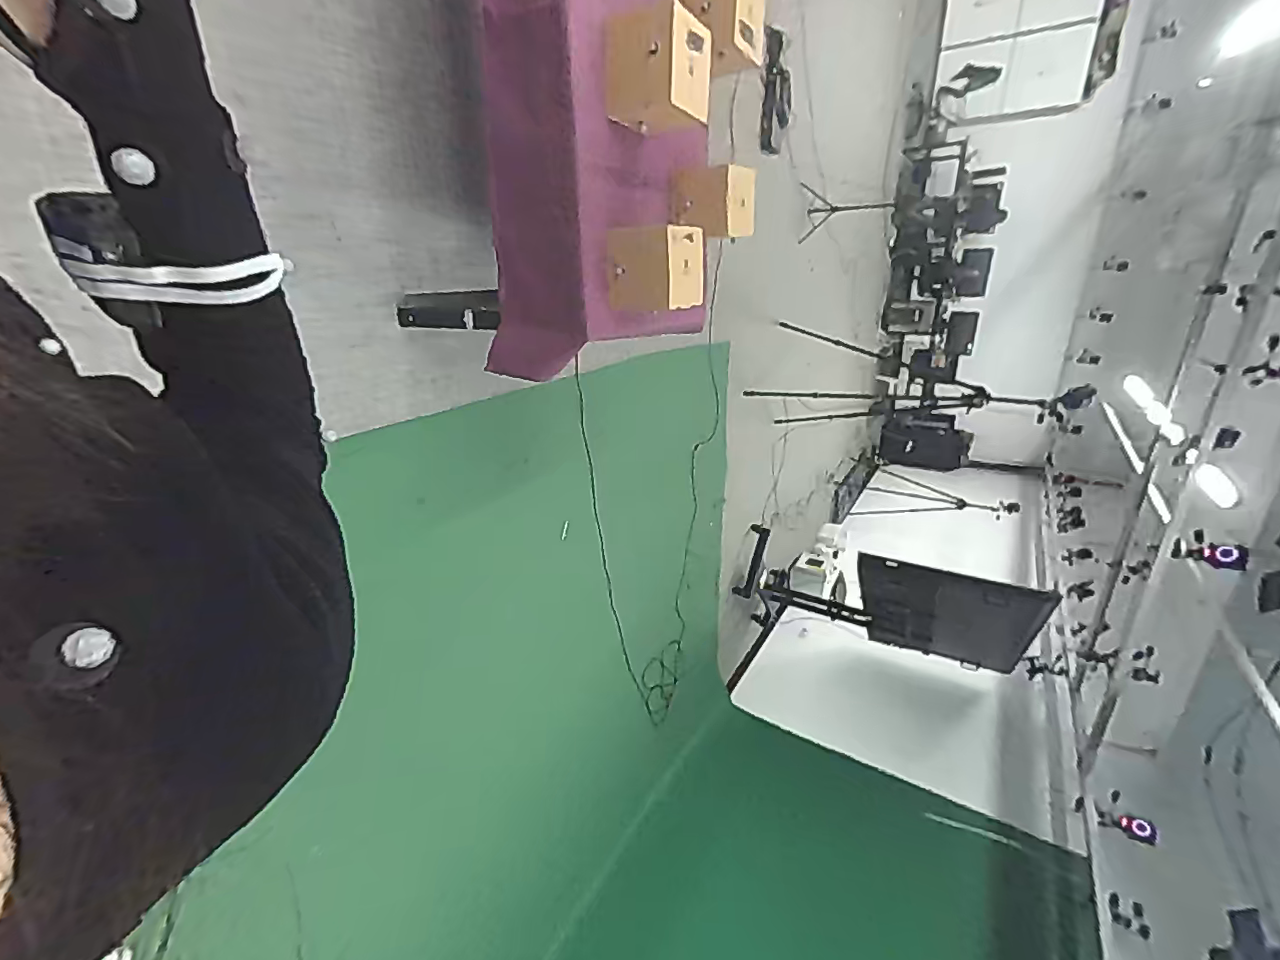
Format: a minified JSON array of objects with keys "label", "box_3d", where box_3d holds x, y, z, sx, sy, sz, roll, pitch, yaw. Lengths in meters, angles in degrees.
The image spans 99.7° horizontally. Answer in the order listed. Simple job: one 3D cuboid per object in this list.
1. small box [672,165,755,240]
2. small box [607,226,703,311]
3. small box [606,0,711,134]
[{"label":"small box","box_3d":[0.199,-0.746,1.467,0.179,0.176,0.168,-32,126,-50]},{"label":"small box","box_3d":[0.035,-0.501,1.285,0.168,0.176,0.179,-31,126,-51]},{"label":"small box","box_3d":[0.039,-0.872,1.163,0.168,0.176,0.179,-25,122,-53]}]
